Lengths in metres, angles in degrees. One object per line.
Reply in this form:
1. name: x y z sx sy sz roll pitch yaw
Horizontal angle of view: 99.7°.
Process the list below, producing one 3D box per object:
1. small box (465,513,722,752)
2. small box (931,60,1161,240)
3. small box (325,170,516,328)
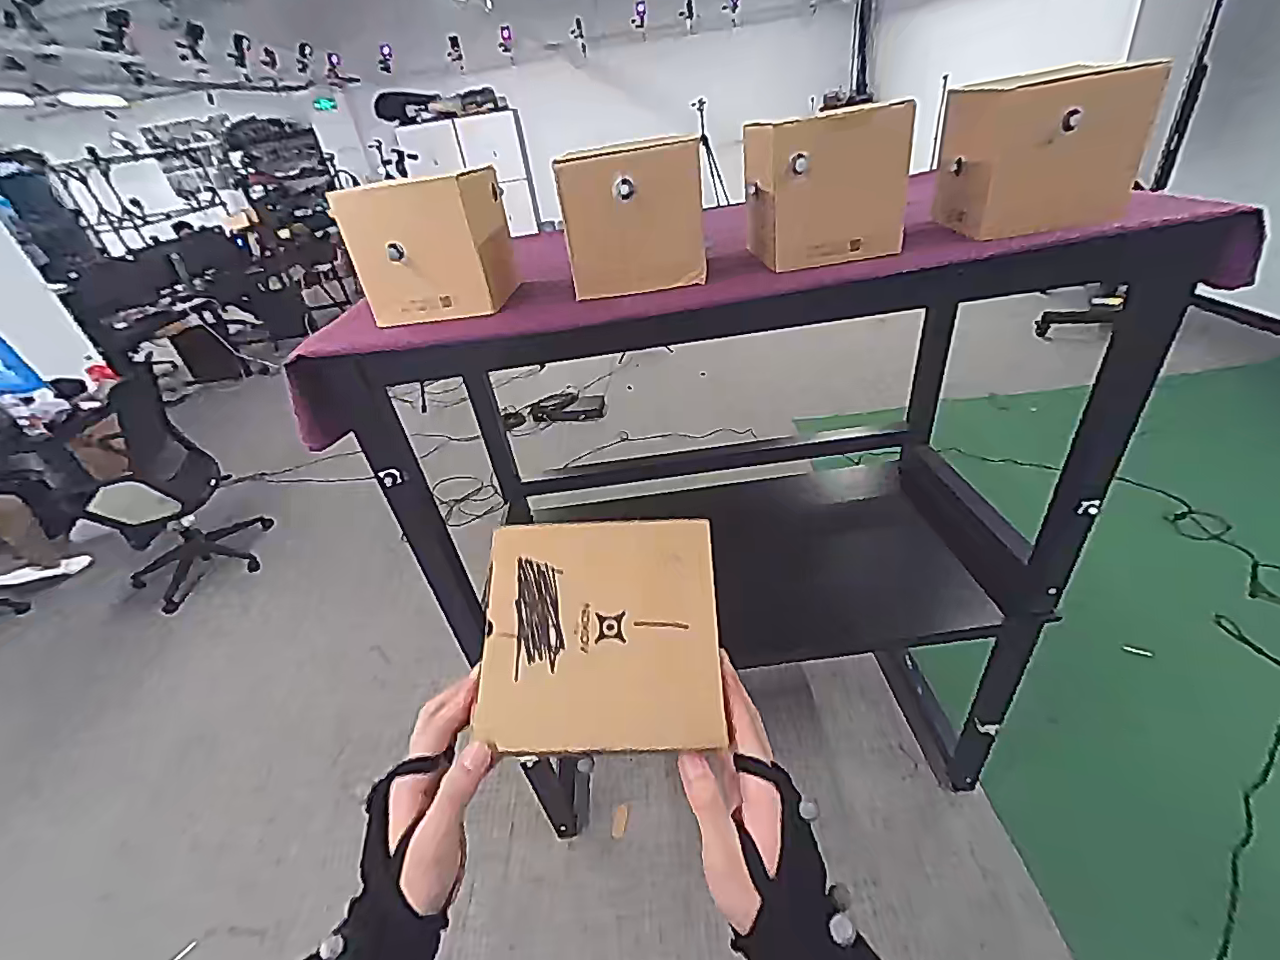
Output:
1. small box: -0.028 0.139 0.464 0.179 0.176 0.168 -2 63 2
2. small box: 0.508 -0.429 0.714 0.179 0.176 0.168 -6 35 6
3. small box: -0.284 -0.317 0.752 0.168 0.176 0.179 -6 32 5
